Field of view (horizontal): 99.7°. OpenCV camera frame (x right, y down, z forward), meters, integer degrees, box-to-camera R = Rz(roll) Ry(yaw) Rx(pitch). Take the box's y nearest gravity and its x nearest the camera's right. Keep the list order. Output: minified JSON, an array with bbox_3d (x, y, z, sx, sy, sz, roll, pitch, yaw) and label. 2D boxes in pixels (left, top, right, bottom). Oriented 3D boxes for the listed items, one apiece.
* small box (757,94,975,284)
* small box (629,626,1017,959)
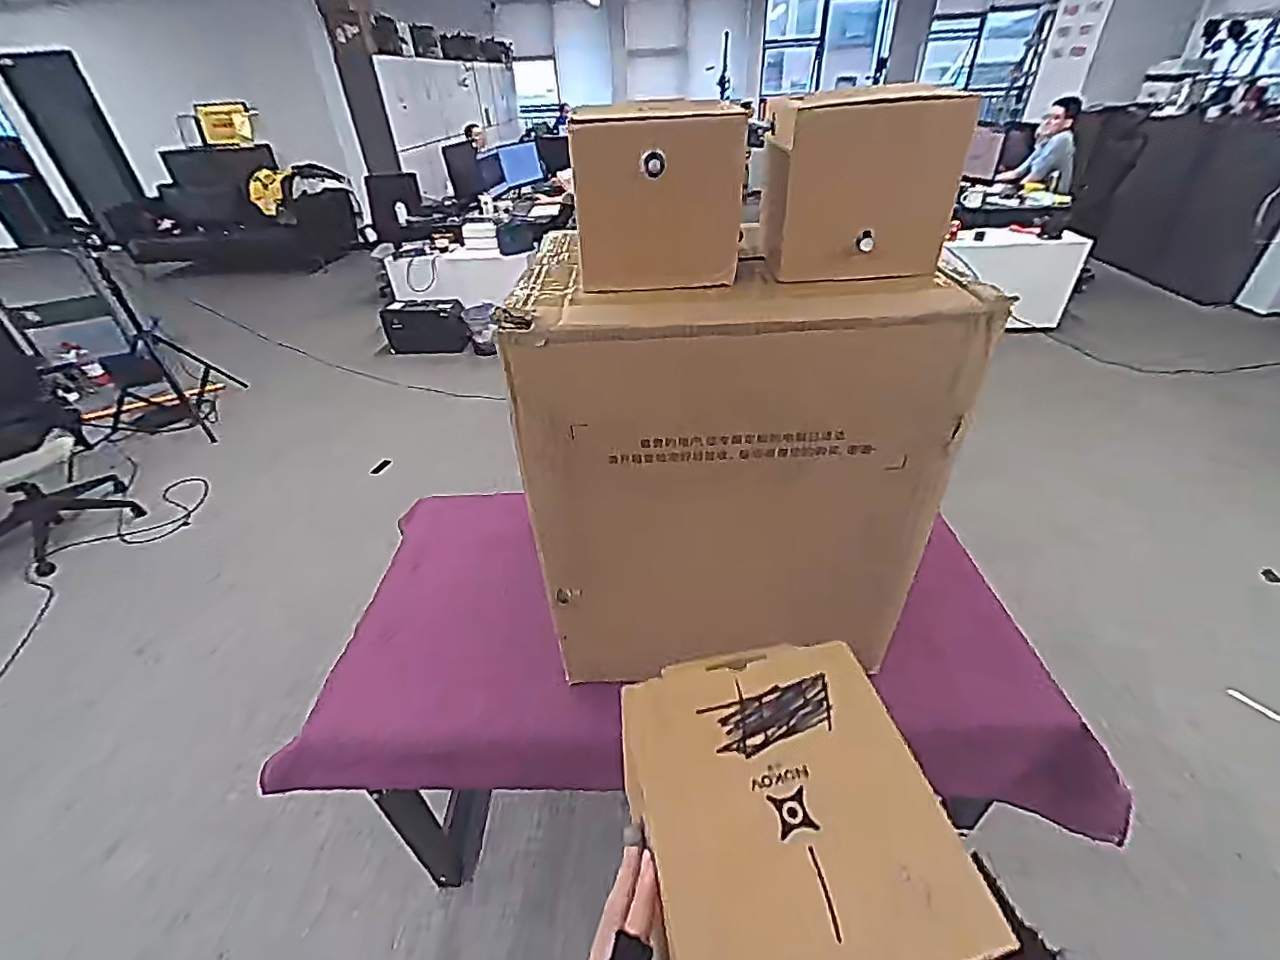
[{"bbox_3d":[0.240,-0.337,0.628,0.179,0.176,0.168,-2,37,3],"label":"small box"},{"bbox_3d":[0.087,0.231,0.364,0.168,0.176,0.179,-9,42,-10],"label":"small box"}]
